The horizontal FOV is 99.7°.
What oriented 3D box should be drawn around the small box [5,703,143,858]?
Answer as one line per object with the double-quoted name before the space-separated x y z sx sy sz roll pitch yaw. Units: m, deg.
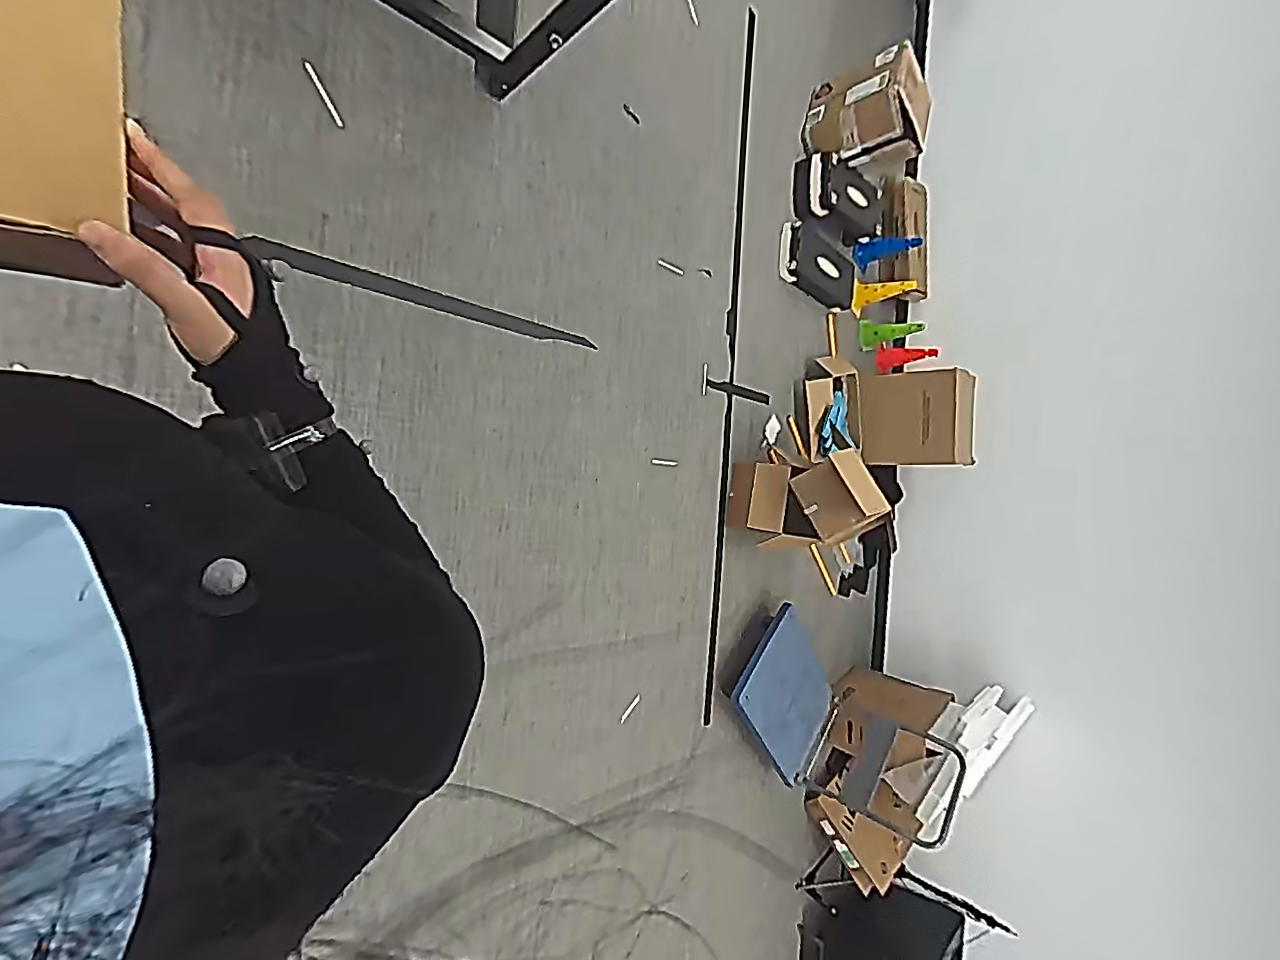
"small box" -1.038 0.534 1.000 0.168 0.176 0.179 -3 95 -44
